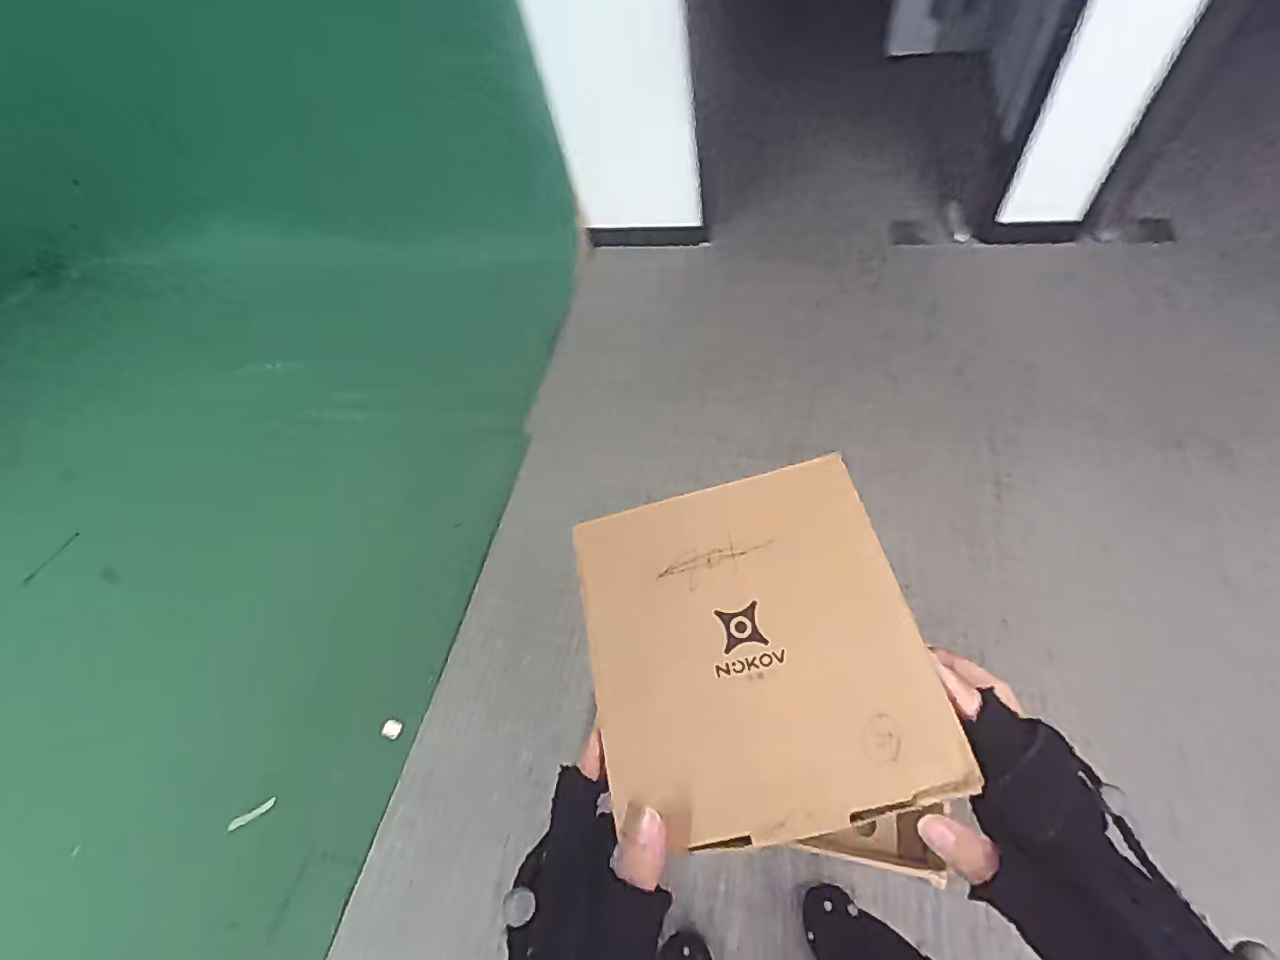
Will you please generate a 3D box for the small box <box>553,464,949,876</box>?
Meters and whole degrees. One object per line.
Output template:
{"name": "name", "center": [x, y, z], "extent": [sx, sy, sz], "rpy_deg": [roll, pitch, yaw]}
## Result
{"name": "small box", "center": [0.058, 0.120, 0.348], "extent": [0.168, 0.176, 0.179], "rpy_deg": [-16, 60, 4]}
